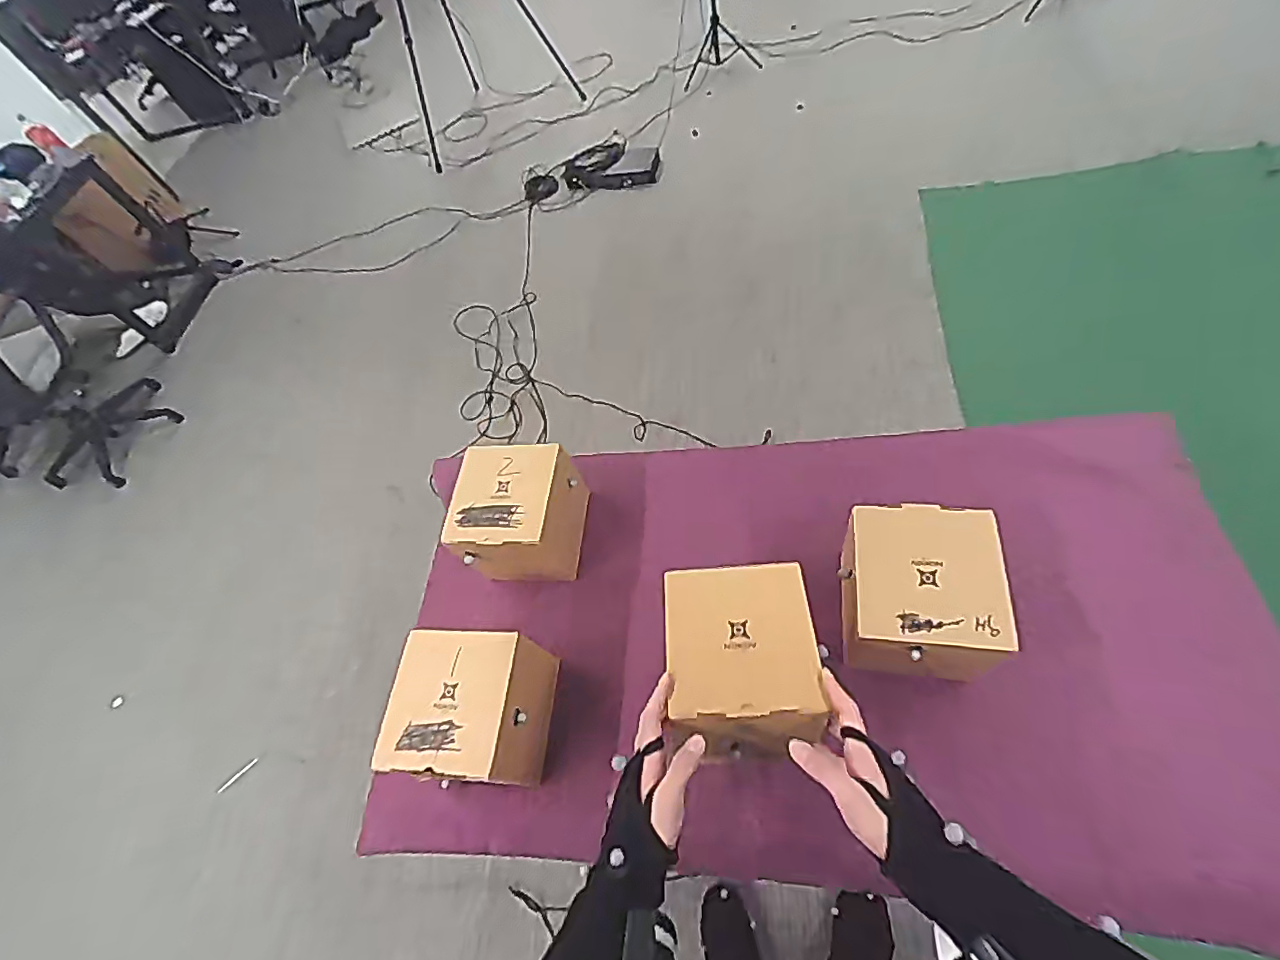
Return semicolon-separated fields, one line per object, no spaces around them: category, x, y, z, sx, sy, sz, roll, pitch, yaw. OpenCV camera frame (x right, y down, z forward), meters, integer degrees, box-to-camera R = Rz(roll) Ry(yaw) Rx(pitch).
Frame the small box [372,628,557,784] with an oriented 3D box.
small box;-0.228;0.318;0.756;0.168;0.176;0.179;-2;58;13

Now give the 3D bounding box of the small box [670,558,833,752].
small box;0.125;0.217;0.664;0.168;0.176;0.179;-5;49;6

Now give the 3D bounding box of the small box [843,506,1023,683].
small box;0.364;0.152;0.711;0.168;0.176;0.179;1;59;15
